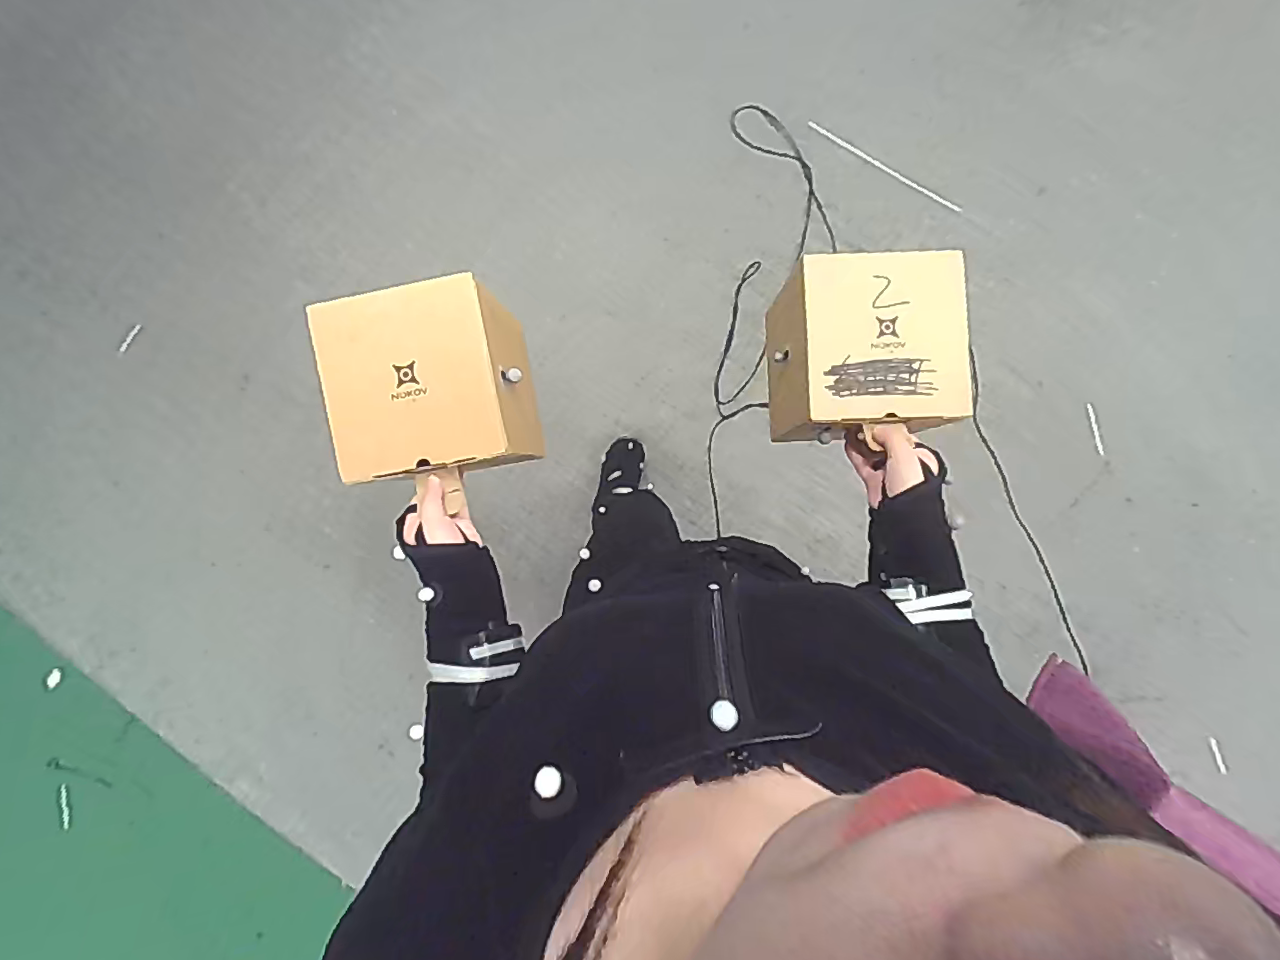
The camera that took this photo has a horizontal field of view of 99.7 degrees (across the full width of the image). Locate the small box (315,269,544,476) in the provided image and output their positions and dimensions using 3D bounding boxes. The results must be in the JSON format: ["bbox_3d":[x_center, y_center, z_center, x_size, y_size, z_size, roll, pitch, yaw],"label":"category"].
[{"bbox_3d":[-0.212,-0.103,0.590,0.168,0.176,0.179,-9,92,3],"label":"small box"}]
